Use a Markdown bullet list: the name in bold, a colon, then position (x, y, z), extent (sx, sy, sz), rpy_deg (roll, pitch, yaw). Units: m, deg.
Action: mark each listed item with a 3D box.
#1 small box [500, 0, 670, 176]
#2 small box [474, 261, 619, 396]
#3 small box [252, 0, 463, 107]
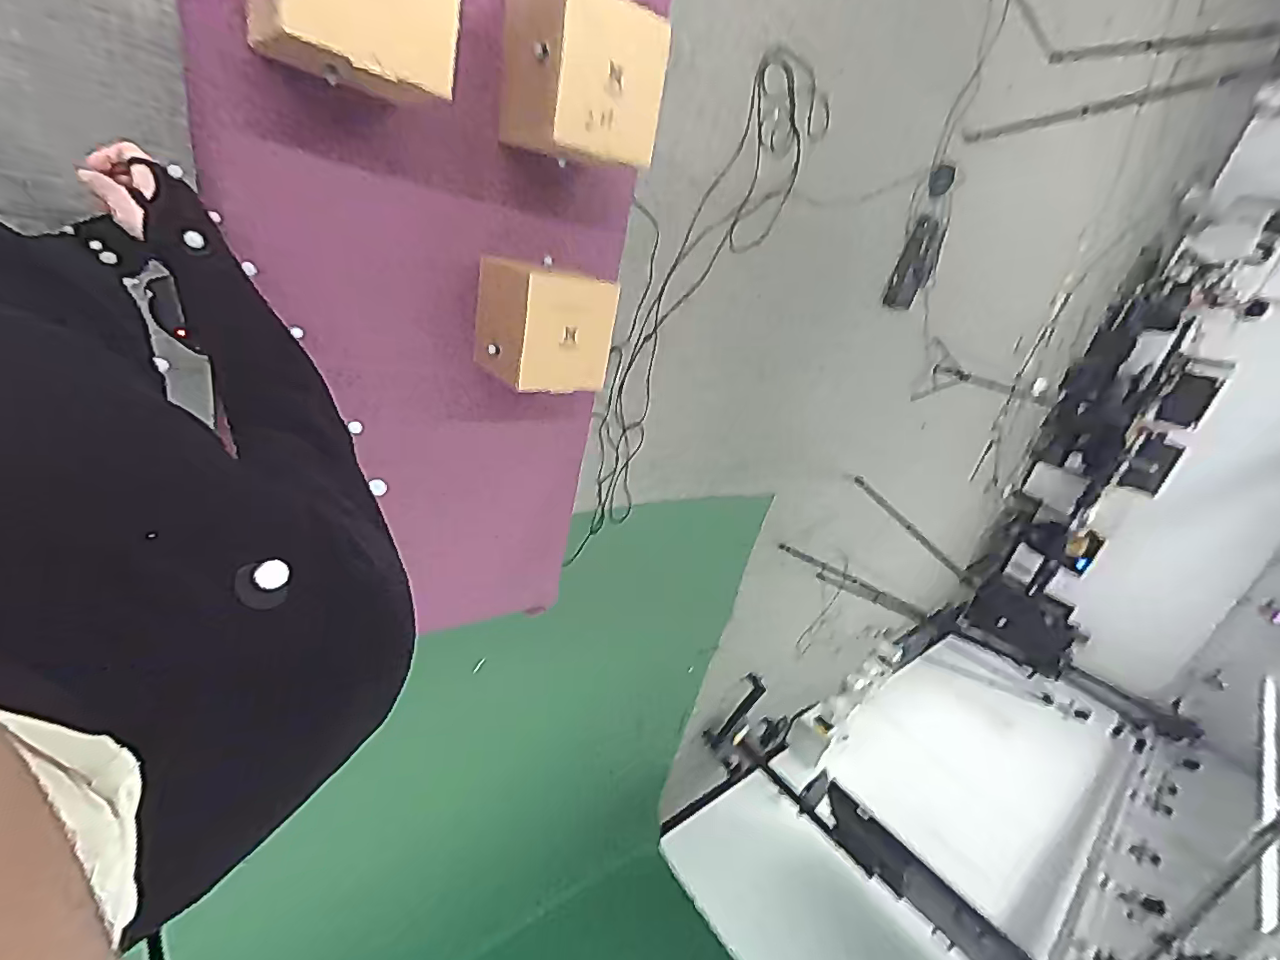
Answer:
- **small box**: position (-0.085, -0.552, 0.768), extent (0.168, 0.176, 0.179), rpy_deg (-9, 121, -39)
- **small box**: position (-0.162, -0.248, 0.895), extent (0.168, 0.176, 0.179), rpy_deg (-8, 120, -40)
- **small box**: position (-0.303, -0.529, 0.577), extent (0.168, 0.176, 0.179), rpy_deg (-6, 120, -42)
